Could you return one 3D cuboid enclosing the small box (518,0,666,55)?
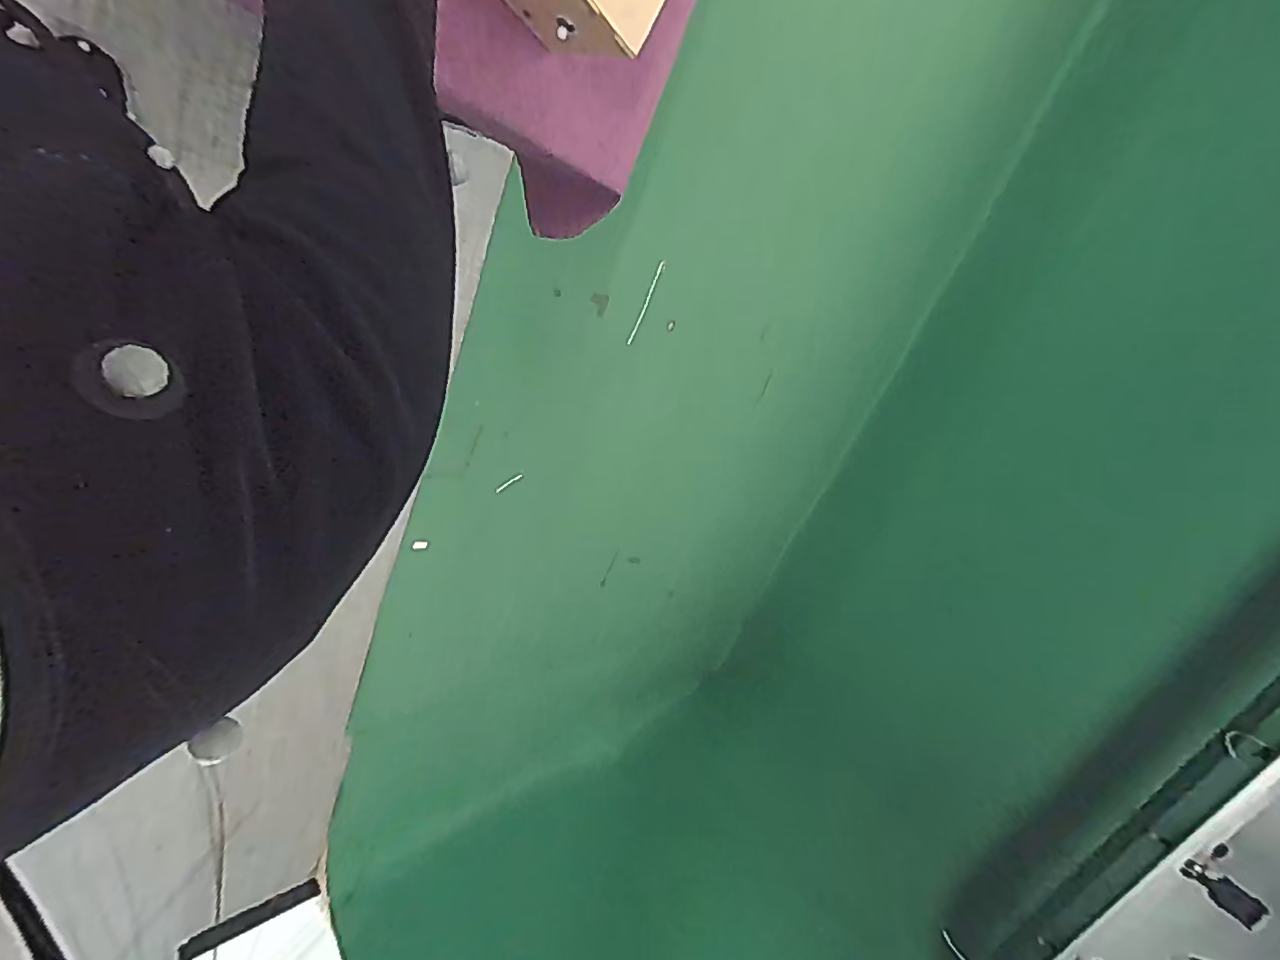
[{"bbox_3d":[-0.060,-0.582,0.549,0.168,0.176,0.179,16,108,-52],"label":"small box"}]
